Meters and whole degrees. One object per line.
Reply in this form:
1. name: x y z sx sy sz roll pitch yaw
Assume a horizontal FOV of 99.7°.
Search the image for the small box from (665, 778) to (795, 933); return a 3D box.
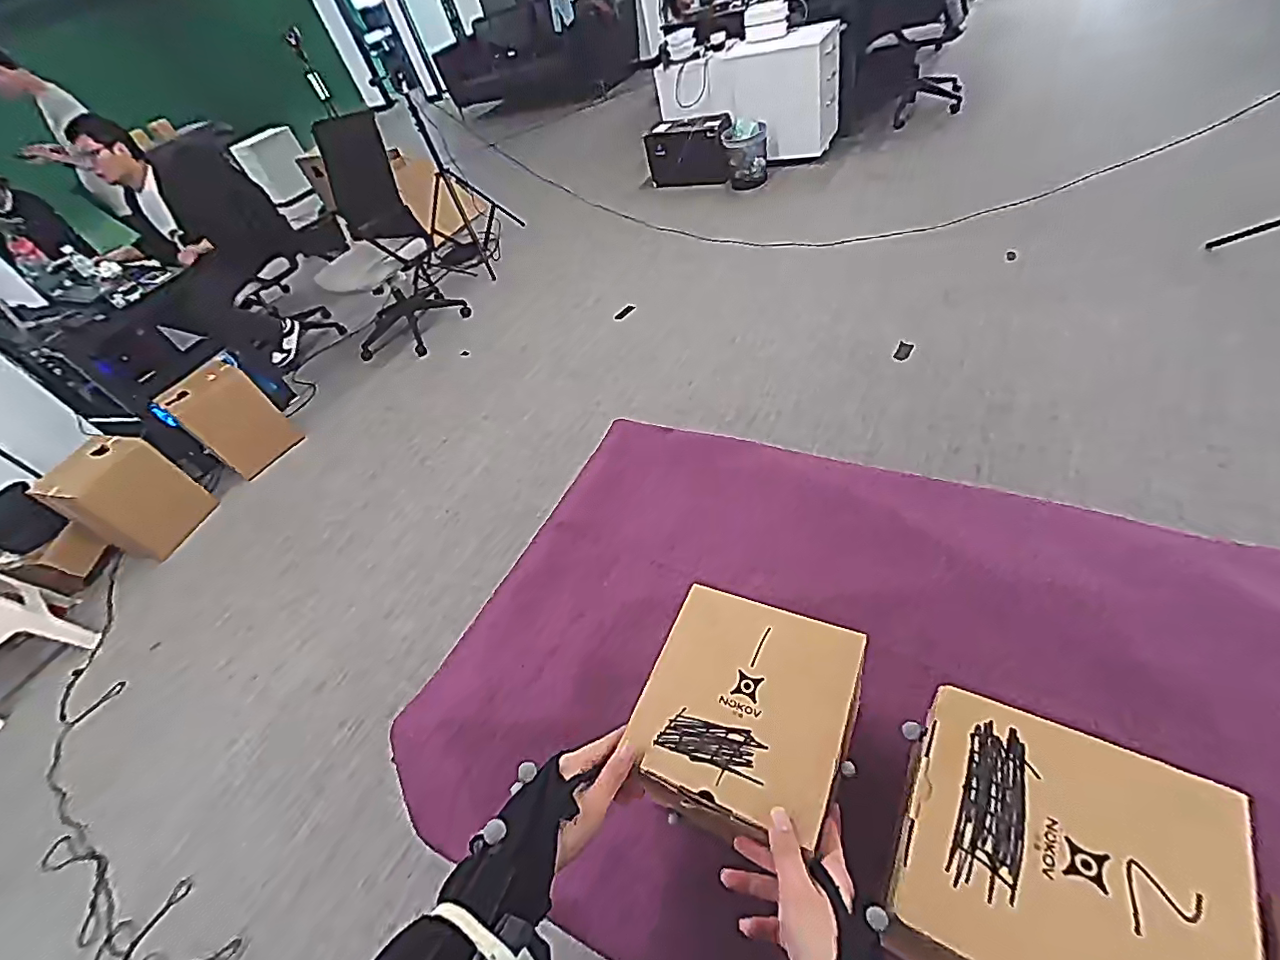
1. small box: 0.169 0.662 0.959 0.179 0.176 0.168 9 54 26
